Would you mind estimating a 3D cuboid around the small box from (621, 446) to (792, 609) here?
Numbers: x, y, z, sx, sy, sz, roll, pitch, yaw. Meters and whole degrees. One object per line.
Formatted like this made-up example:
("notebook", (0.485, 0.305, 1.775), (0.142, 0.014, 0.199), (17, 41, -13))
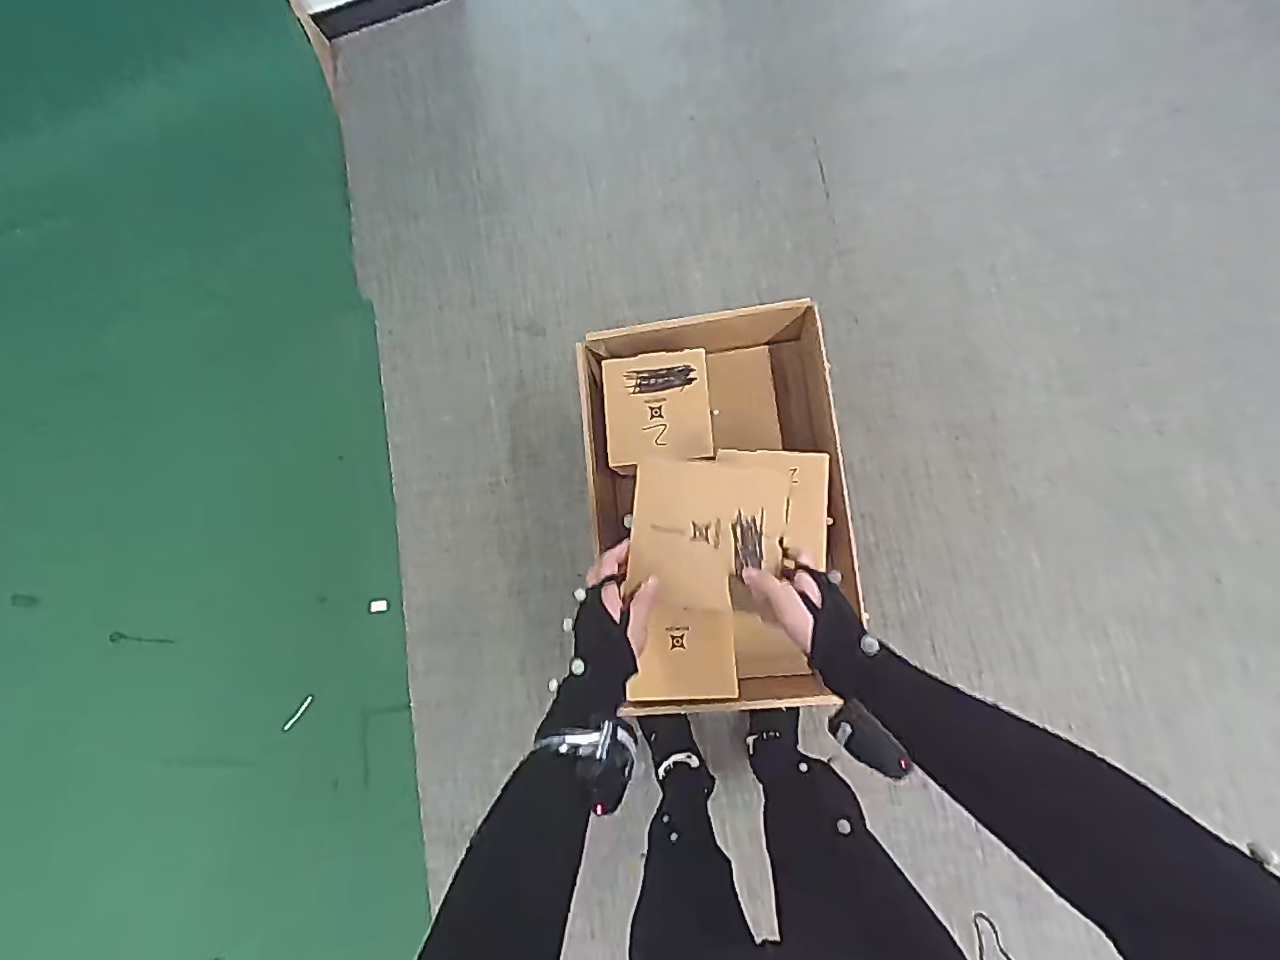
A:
("small box", (0.076, 0.057, 0.678), (0.179, 0.176, 0.168), (6, 85, 3))
